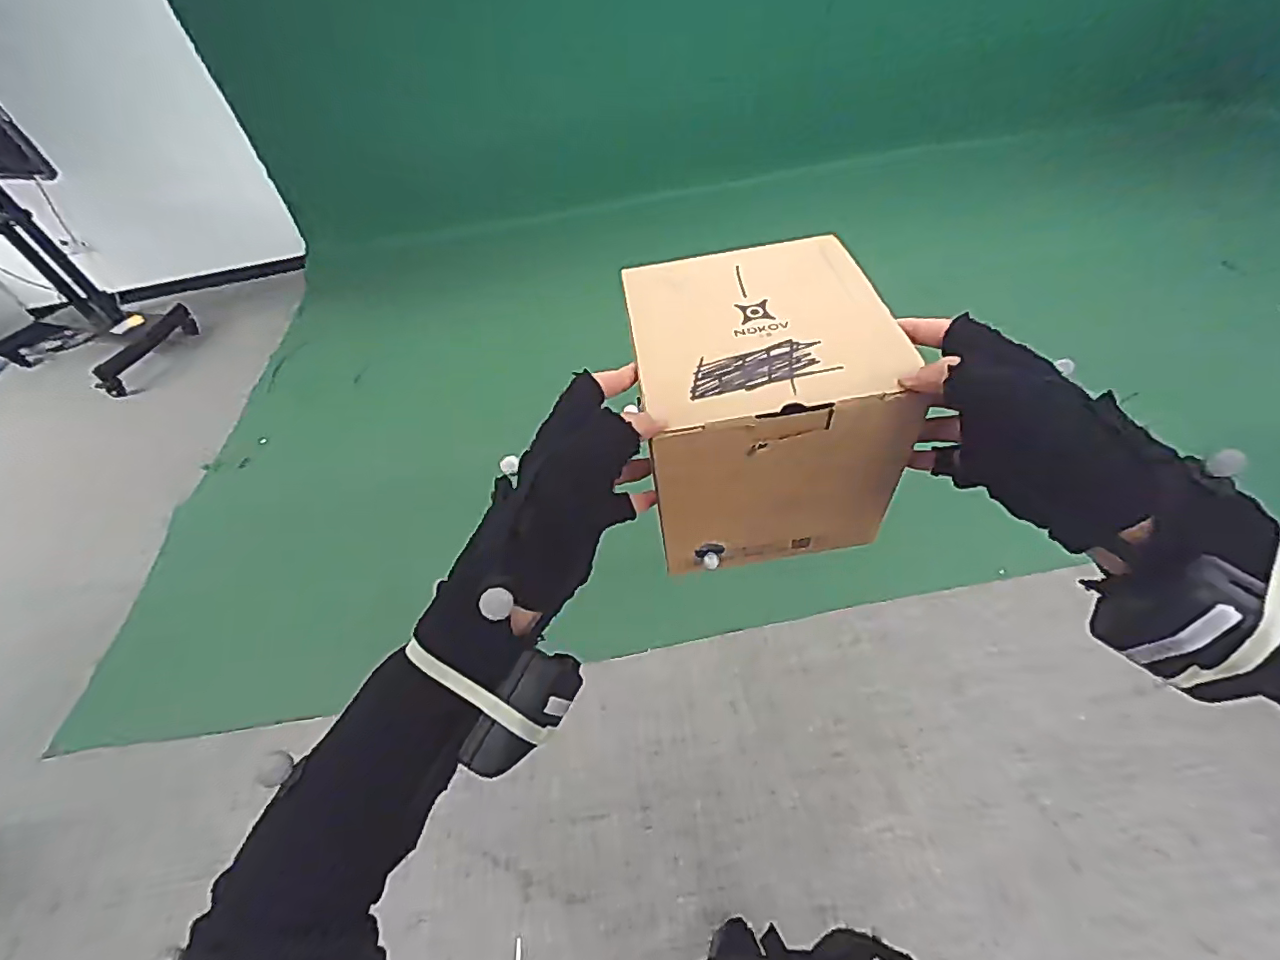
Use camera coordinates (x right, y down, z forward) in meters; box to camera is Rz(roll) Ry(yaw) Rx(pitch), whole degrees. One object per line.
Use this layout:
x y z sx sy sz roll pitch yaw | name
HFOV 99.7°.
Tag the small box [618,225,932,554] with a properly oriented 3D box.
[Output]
0.082 -0.058 0.409 0.168 0.176 0.179 -9 51 1 | small box
